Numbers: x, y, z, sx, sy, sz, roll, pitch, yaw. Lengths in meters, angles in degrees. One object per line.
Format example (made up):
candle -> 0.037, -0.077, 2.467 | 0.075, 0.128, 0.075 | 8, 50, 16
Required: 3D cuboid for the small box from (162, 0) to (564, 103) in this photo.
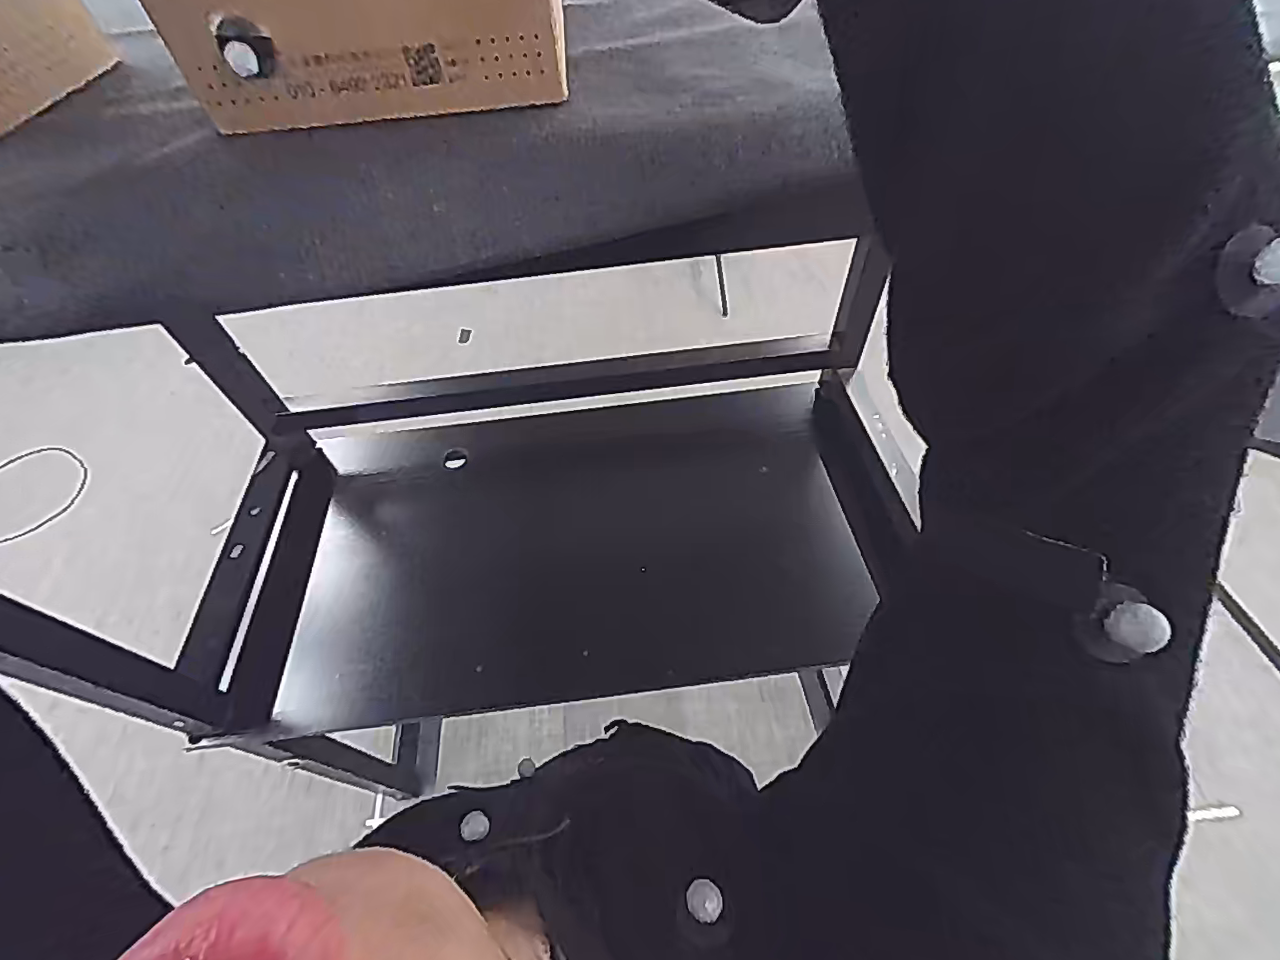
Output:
small box -> -0.128, -0.289, 0.241 | 0.168, 0.176, 0.179 | -6, 51, -2
